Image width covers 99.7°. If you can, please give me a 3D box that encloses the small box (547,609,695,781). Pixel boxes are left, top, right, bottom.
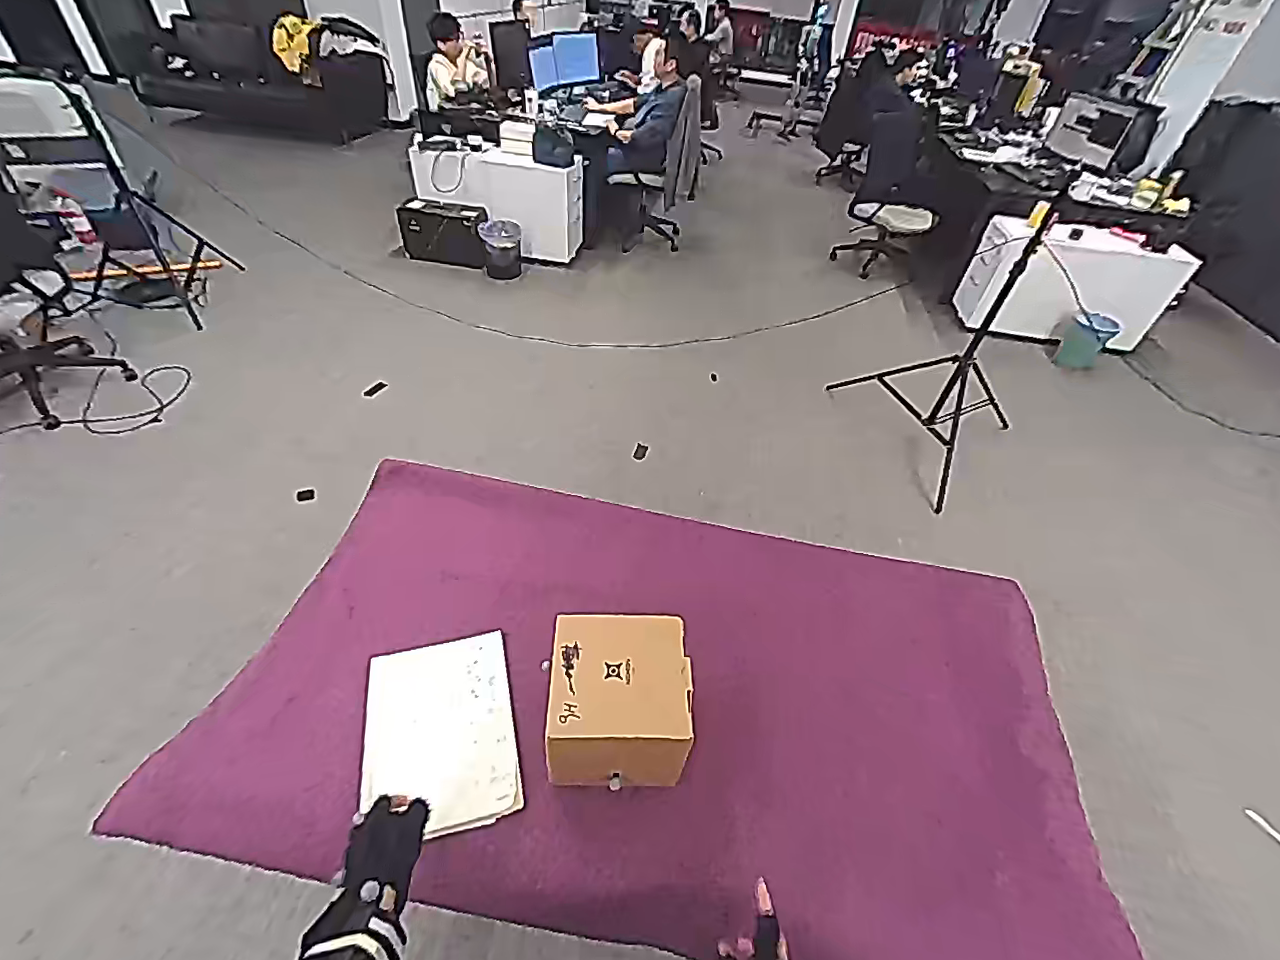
[{"bbox_3d":[-0.030,0.295,0.740,0.179,0.176,0.168,3,42,-4],"label":"small box"}]
